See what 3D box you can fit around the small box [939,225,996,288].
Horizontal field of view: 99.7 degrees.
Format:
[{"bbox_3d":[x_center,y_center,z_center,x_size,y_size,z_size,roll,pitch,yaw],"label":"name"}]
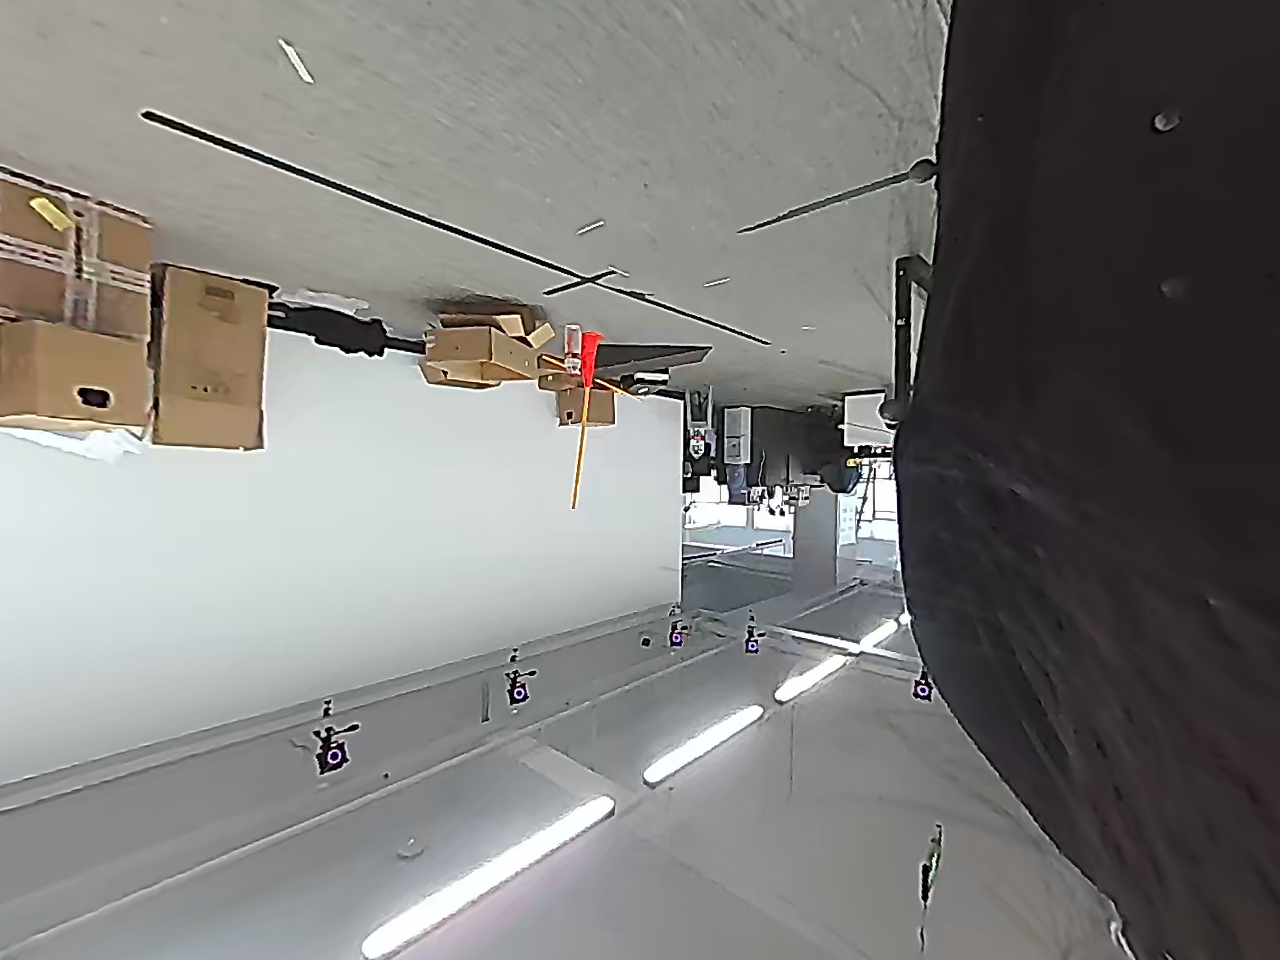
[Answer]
[{"bbox_3d":[1.281,-0.875,2.122,0.179,0.176,0.168,0,180,25],"label":"small box"}]
